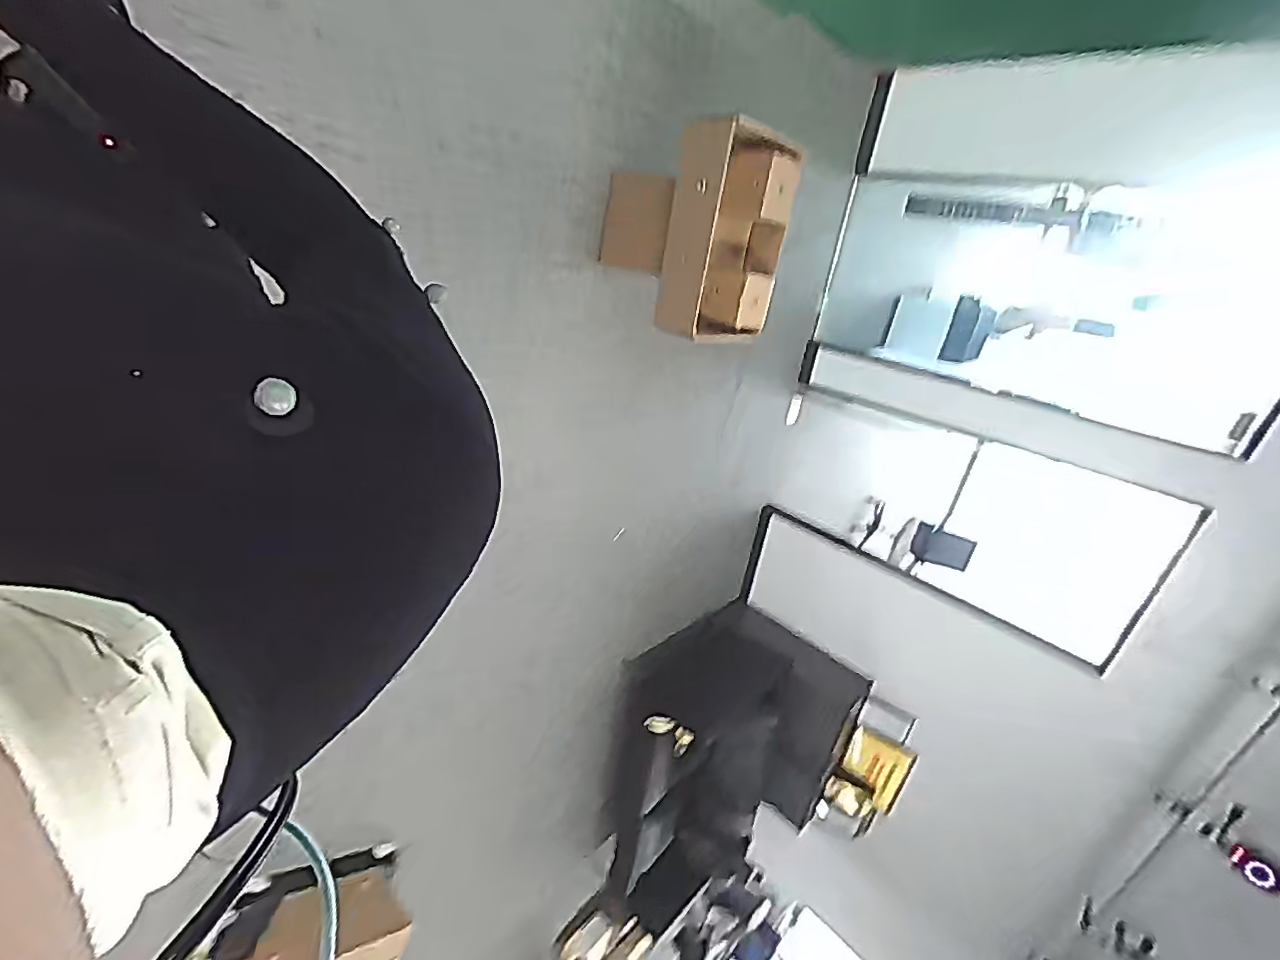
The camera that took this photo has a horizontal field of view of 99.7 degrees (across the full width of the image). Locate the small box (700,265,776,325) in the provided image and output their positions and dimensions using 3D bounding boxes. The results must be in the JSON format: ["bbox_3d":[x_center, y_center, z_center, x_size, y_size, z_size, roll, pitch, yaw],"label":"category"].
[{"bbox_3d":[0.336,-0.641,1.873,0.179,0.176,0.168,-13,123,-43],"label":"small box"}]
